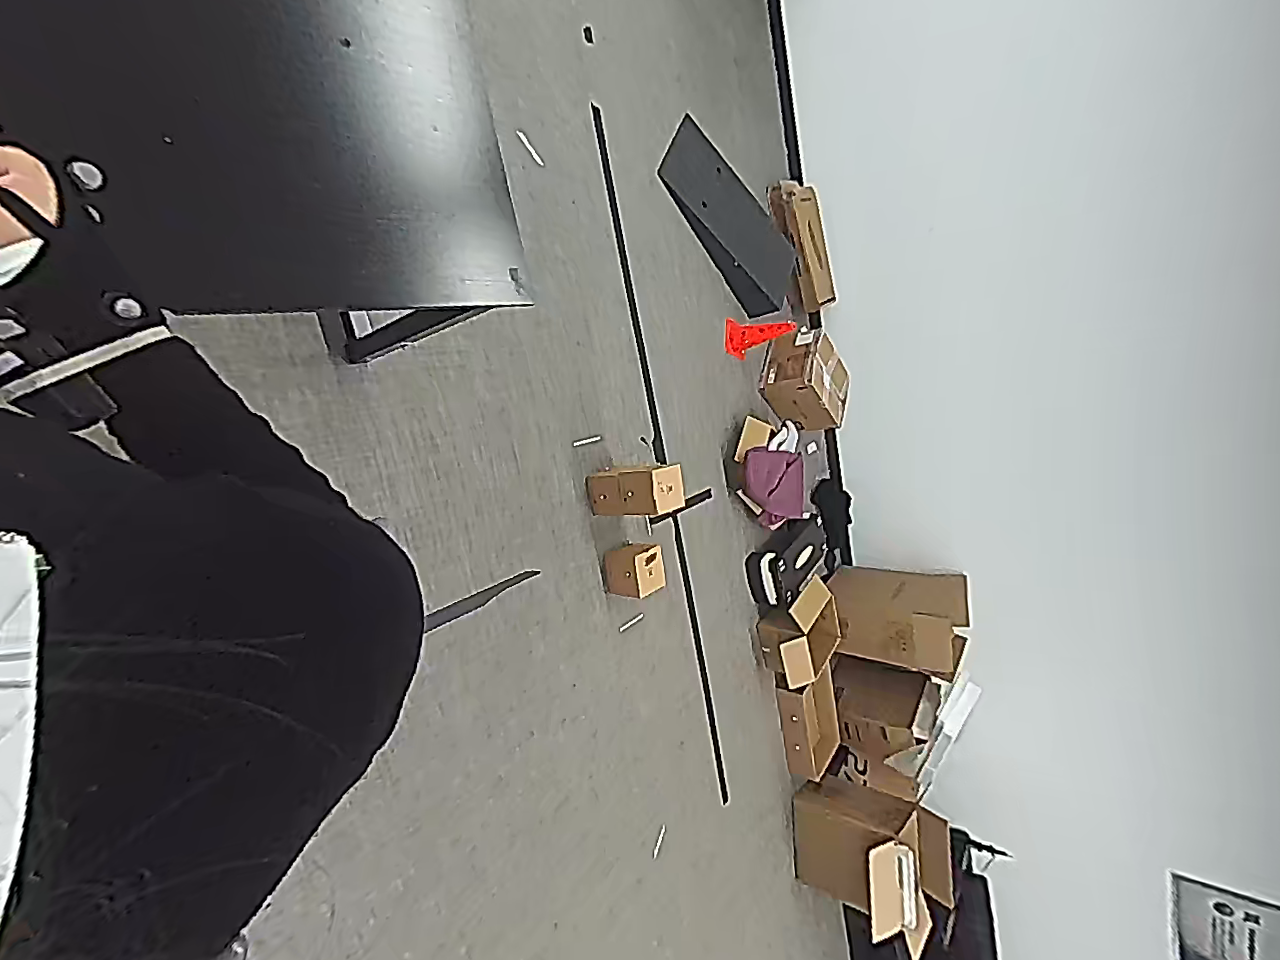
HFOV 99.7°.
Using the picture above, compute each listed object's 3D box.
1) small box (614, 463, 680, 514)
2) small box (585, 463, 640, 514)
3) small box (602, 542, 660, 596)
[{"bbox_3d":[0.027,0.030,2.044,0.179,0.176,0.168,-15,99,-49],"label":"small box"},{"bbox_3d":[-0.101,0.034,2.149,0.179,0.176,0.168,-23,105,-47],"label":"small box"},{"bbox_3d":[-0.040,0.358,2.208,0.168,0.176,0.179,-17,103,-48],"label":"small box"}]
